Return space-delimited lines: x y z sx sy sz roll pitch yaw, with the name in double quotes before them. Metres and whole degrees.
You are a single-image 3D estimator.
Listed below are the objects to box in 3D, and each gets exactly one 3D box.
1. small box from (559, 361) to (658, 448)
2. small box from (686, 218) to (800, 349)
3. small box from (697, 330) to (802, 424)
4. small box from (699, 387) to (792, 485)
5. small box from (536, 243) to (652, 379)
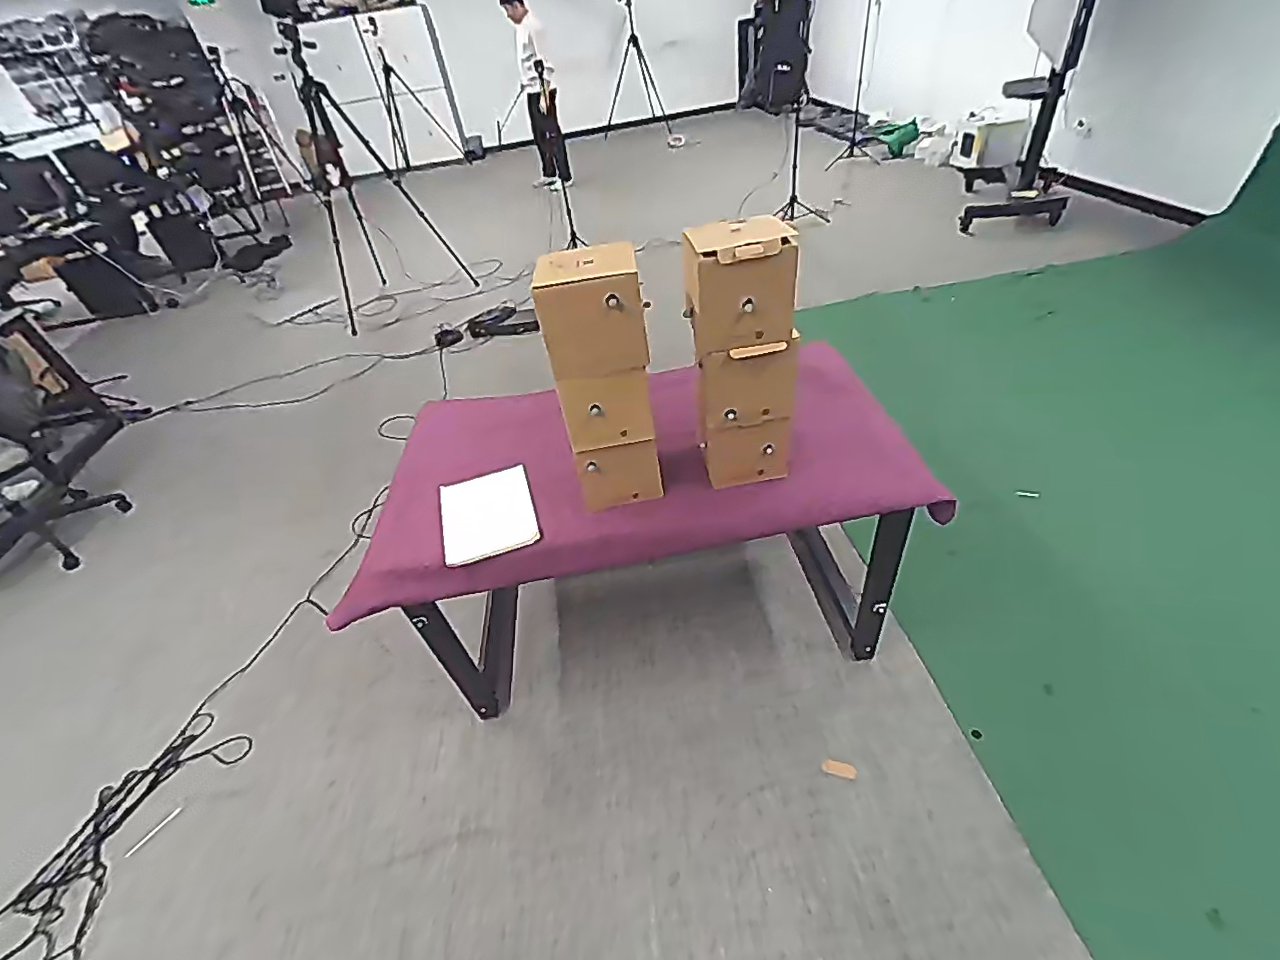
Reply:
"small box" -0.060 -0.178 1.077 0.168 0.176 0.179 -9 39 1
"small box" 0.180 -0.346 0.972 0.168 0.176 0.179 -8 41 1
"small box" 0.212 -0.224 1.077 0.168 0.176 0.179 -9 39 -1
"small box" 0.228 -0.103 1.186 0.168 0.176 0.179 -9 40 0
"small box" -0.073 -0.300 0.966 0.179 0.176 0.168 -8 39 3
